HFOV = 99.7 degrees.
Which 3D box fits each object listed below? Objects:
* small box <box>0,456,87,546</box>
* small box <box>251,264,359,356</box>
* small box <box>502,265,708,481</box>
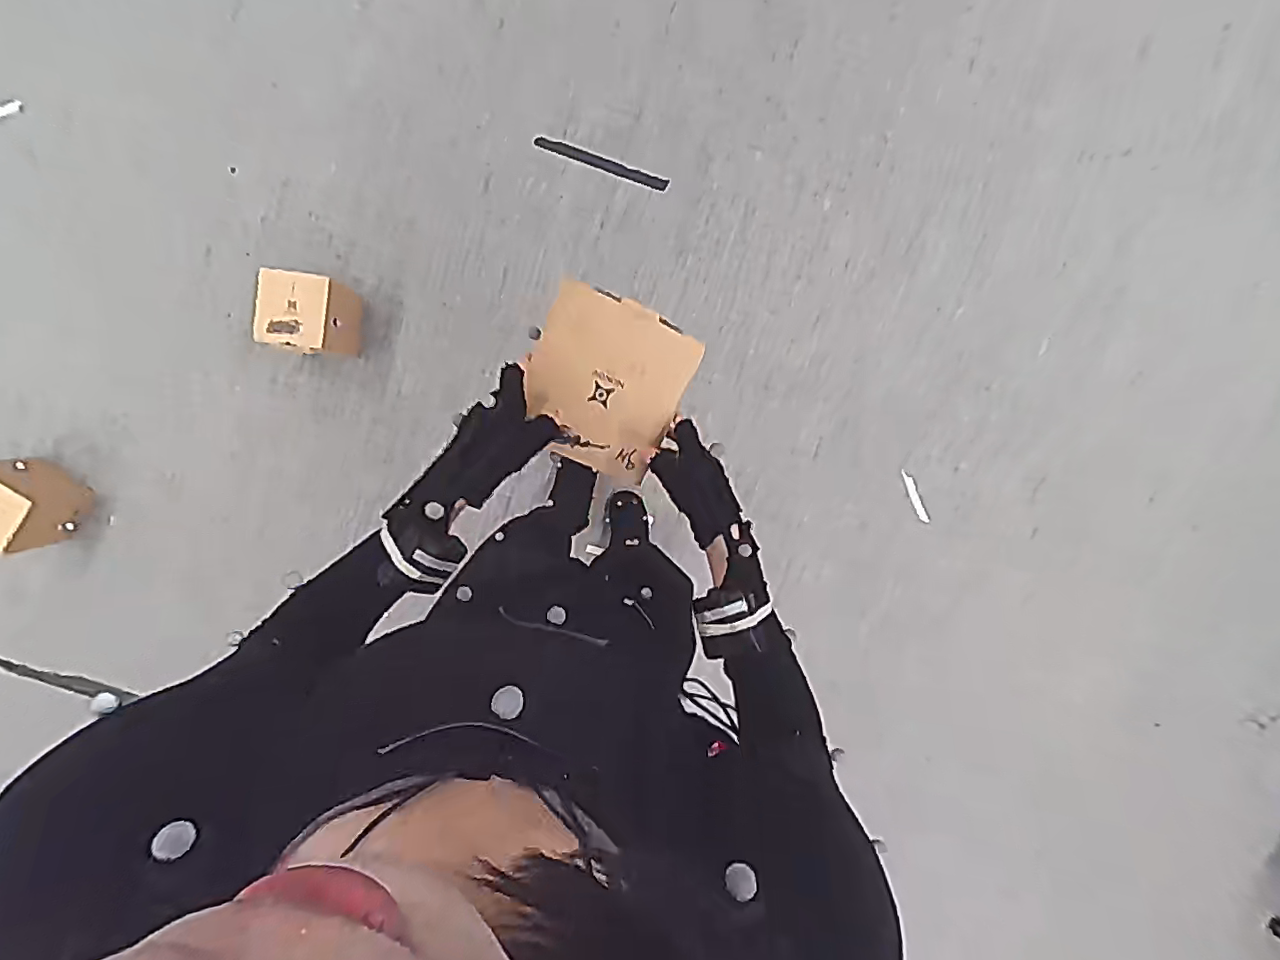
[{"bbox_3d":[-1.590,0.051,1.366,0.179,0.176,0.168,35,94,-6],"label":"small box"},{"bbox_3d":[-0.831,-0.417,1.356,0.168,0.176,0.179,8,94,-3],"label":"small box"},{"bbox_3d":[-0.049,-0.127,0.631,0.168,0.176,0.179,22,103,-15],"label":"small box"}]
